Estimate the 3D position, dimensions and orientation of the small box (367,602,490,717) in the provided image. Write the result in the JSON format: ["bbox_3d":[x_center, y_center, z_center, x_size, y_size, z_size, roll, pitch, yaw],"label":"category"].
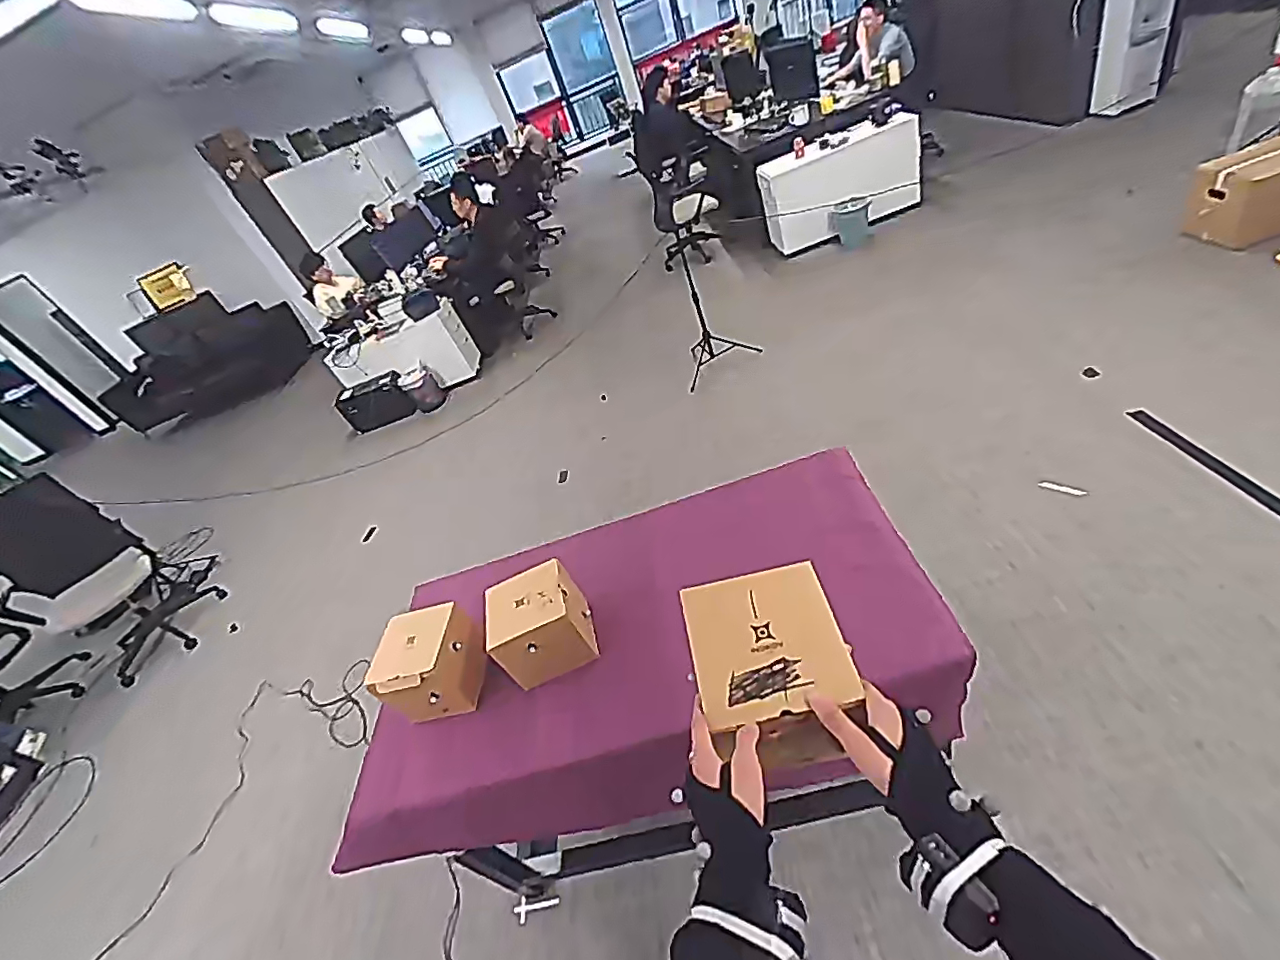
[{"bbox_3d":[-0.453,0.402,1.189,0.168,0.176,0.179,-15,38,12],"label":"small box"}]

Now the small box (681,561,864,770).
[{"bbox_3d":[0.156,0.231,0.655,0.168,0.176,0.179,-14,44,4],"label":"small box"}]

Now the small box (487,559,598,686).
[{"bbox_3d":[-0.210,0.309,1.161,0.179,0.176,0.168,-24,38,1],"label":"small box"}]
